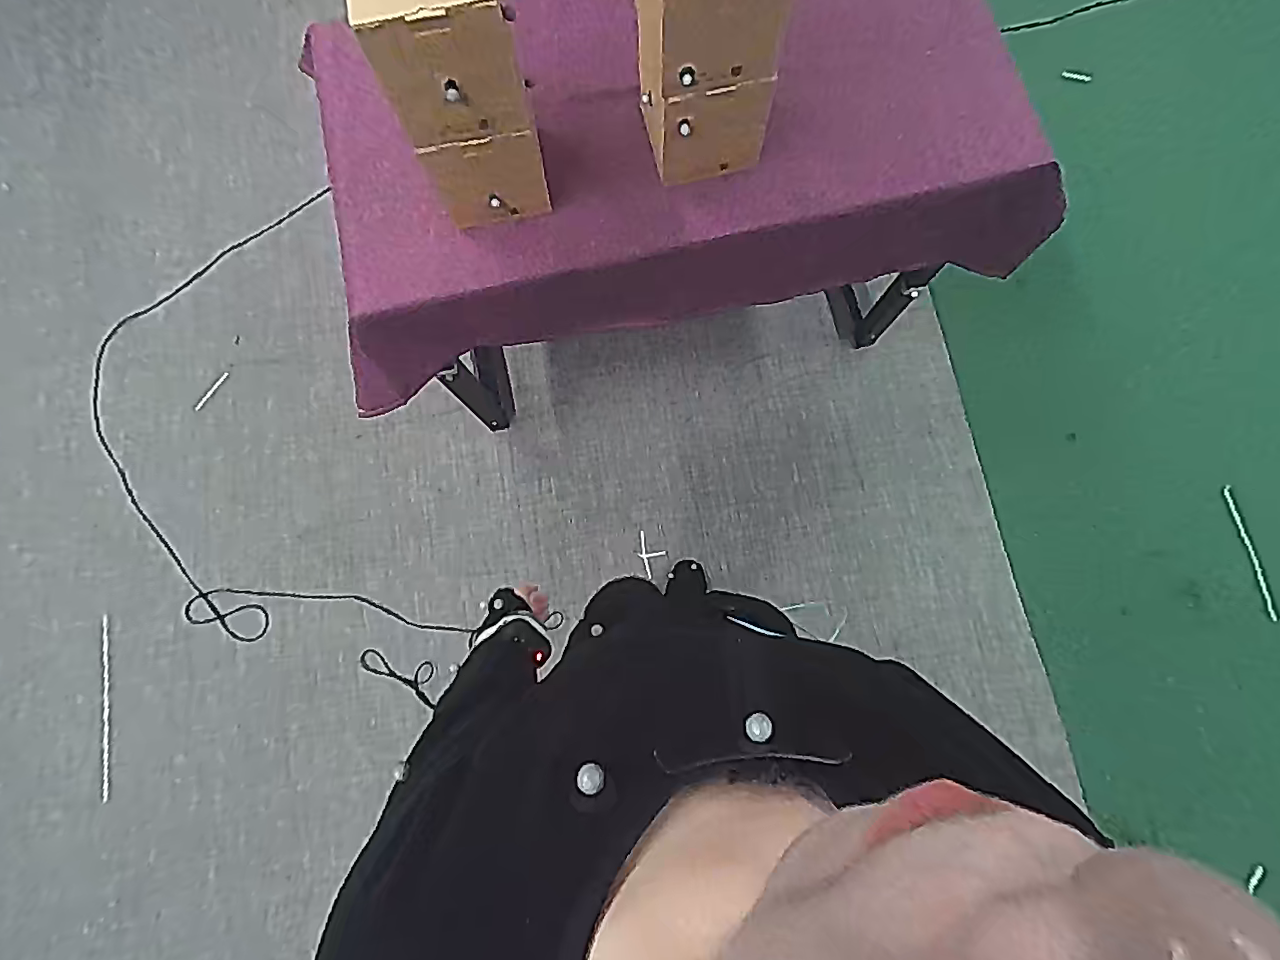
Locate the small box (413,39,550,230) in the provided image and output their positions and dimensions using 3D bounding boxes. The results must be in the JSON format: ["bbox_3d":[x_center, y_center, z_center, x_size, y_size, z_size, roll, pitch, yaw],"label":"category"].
[{"bbox_3d":[-0.245,-0.530,0.845,0.168,0.176,0.179,-12,78,-1],"label":"small box"}]

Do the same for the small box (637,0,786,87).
[{"bbox_3d":[0.088,-0.645,0.692,0.168,0.176,0.179,-13,77,-1],"label":"small box"}]

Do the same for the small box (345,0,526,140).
[{"bbox_3d":[-0.251,-0.566,0.684,0.168,0.176,0.179,-11,79,-2],"label":"small box"}]
